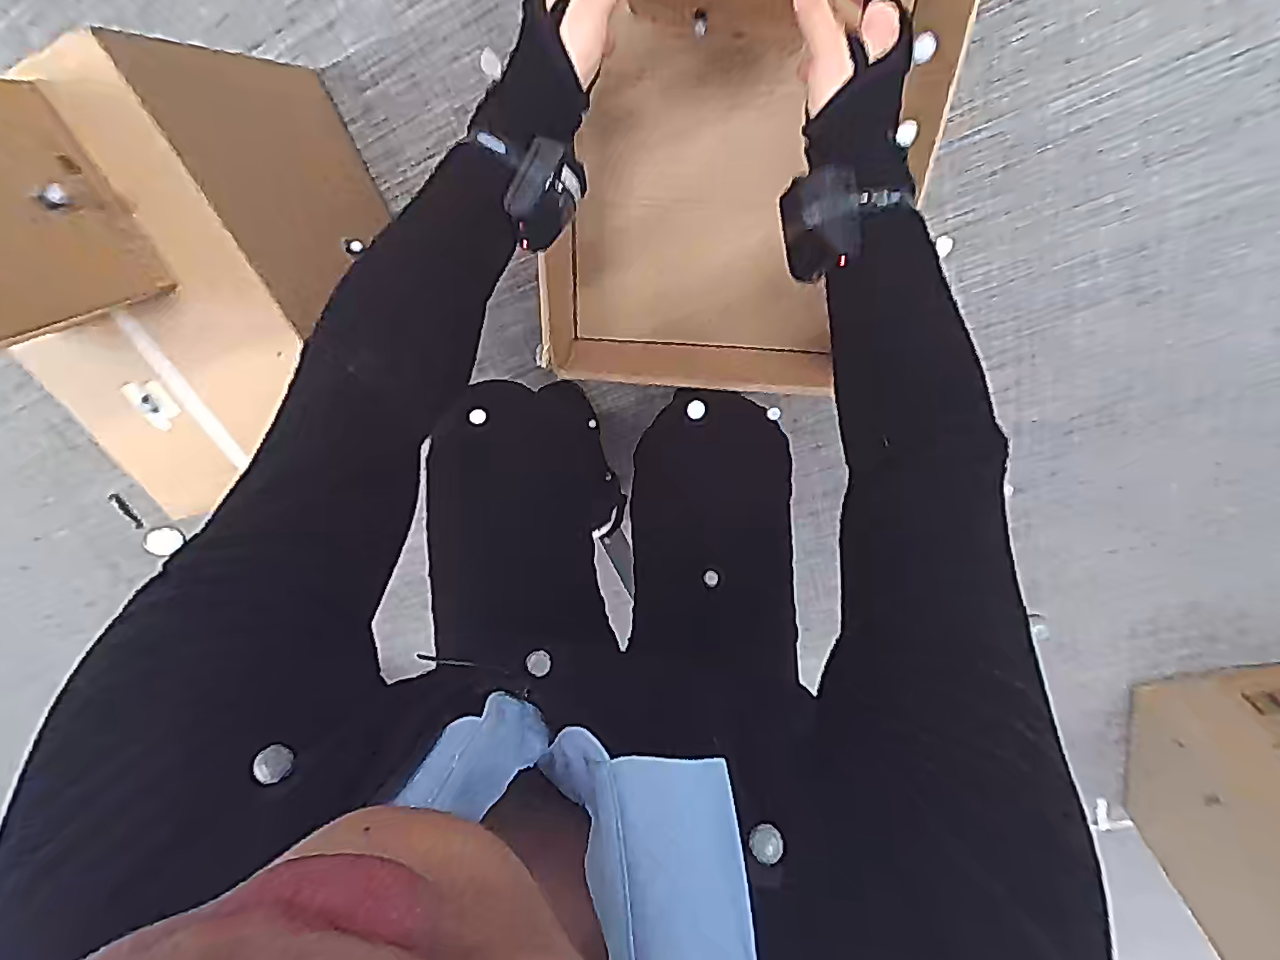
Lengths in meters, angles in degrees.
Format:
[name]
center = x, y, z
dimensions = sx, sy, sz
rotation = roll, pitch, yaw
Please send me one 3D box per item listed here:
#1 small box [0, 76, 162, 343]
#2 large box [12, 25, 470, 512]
[small box]
center = -0.543, -0.191, 0.414
dimensions = 0.179, 0.176, 0.168
rotation = -13, 122, 12
[large box]
center = -0.483, -0.236, 0.672
dimensions = 0.320, 0.320, 0.408
rotation = -15, 120, 15
